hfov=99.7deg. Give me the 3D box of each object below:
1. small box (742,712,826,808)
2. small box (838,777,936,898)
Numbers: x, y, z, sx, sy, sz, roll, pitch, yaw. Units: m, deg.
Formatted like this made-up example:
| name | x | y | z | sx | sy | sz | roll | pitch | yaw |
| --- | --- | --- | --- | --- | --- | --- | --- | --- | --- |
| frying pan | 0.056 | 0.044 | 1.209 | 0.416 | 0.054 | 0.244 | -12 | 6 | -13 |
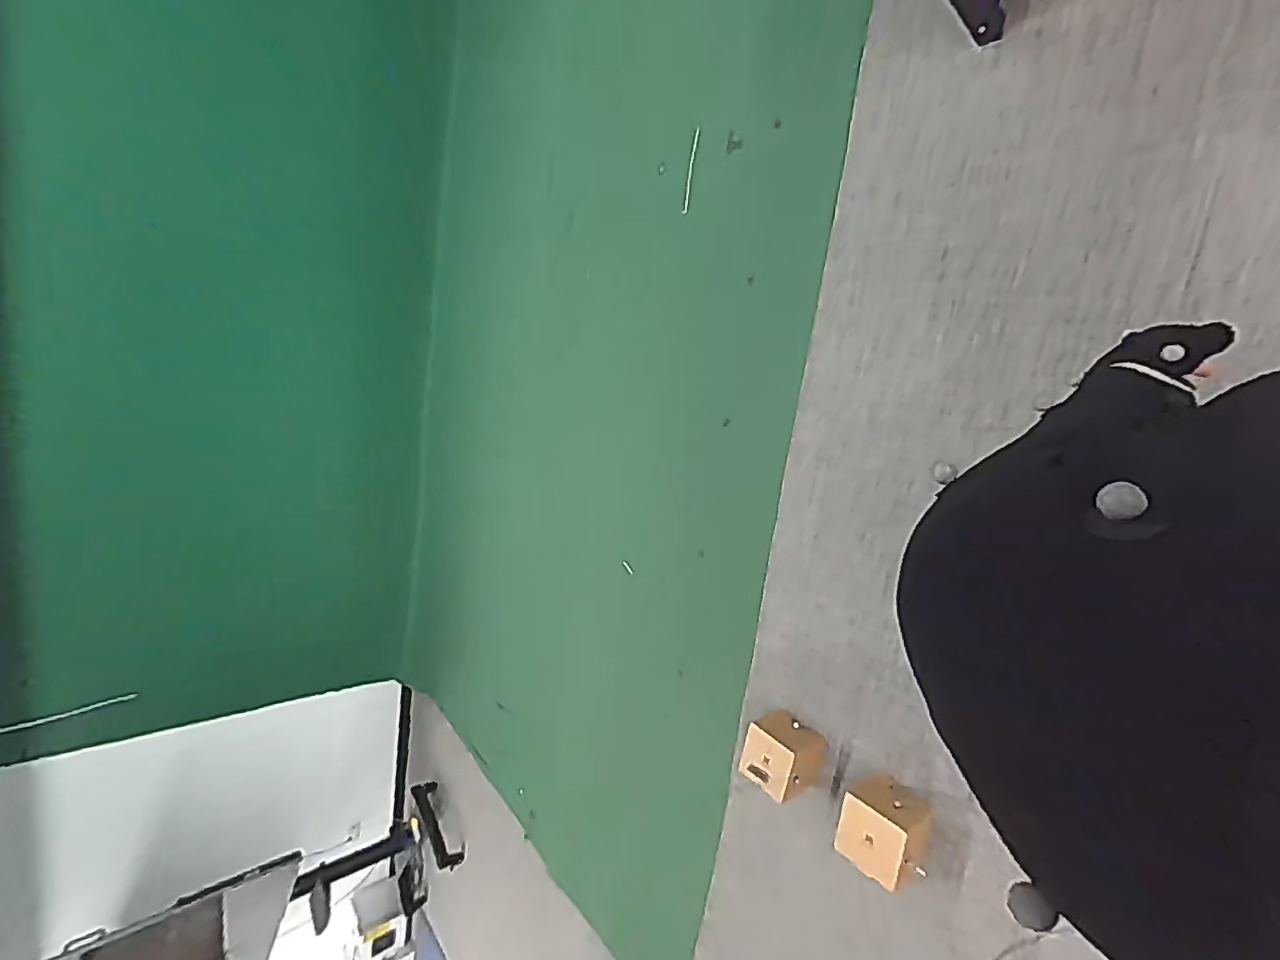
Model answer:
| name | x | y | z | sx | sy | sz | roll | pitch | yaw |
| --- | --- | --- | --- | --- | --- | --- | --- | --- | --- |
| small box | 0.445 | 0.851 | 1.660 | 0.168 | 0.176 | 0.179 | 23 | 105 | 47 |
| small box | 0.653 | 0.926 | 1.421 | 0.168 | 0.176 | 0.179 | 18 | 103 | 48 |
